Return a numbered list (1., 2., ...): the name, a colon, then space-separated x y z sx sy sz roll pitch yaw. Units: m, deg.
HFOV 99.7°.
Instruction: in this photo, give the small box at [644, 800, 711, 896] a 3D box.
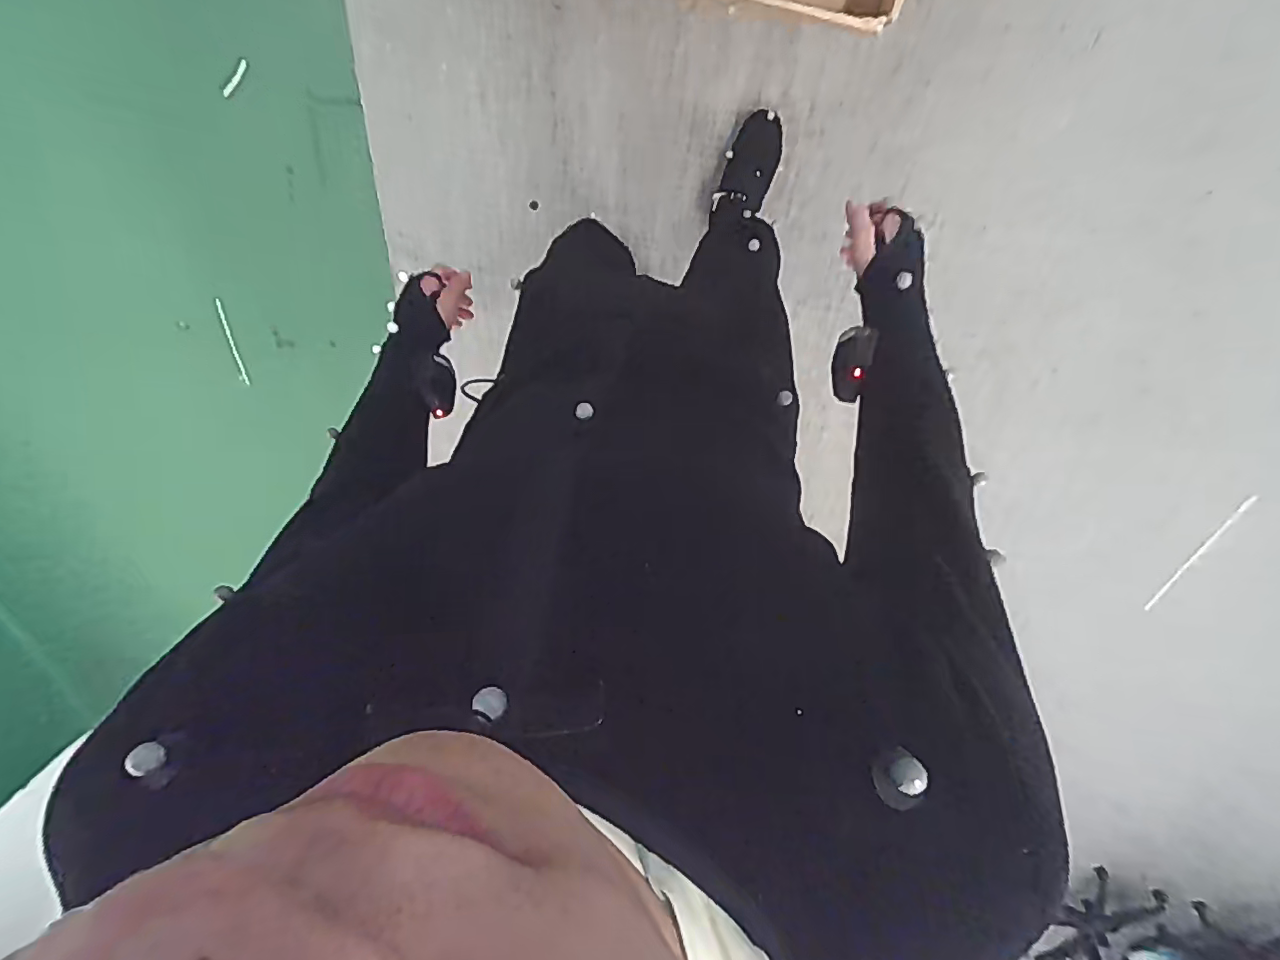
1. small box: 0.114 1.090 1.607 0.168 0.176 0.179 10 127 6
